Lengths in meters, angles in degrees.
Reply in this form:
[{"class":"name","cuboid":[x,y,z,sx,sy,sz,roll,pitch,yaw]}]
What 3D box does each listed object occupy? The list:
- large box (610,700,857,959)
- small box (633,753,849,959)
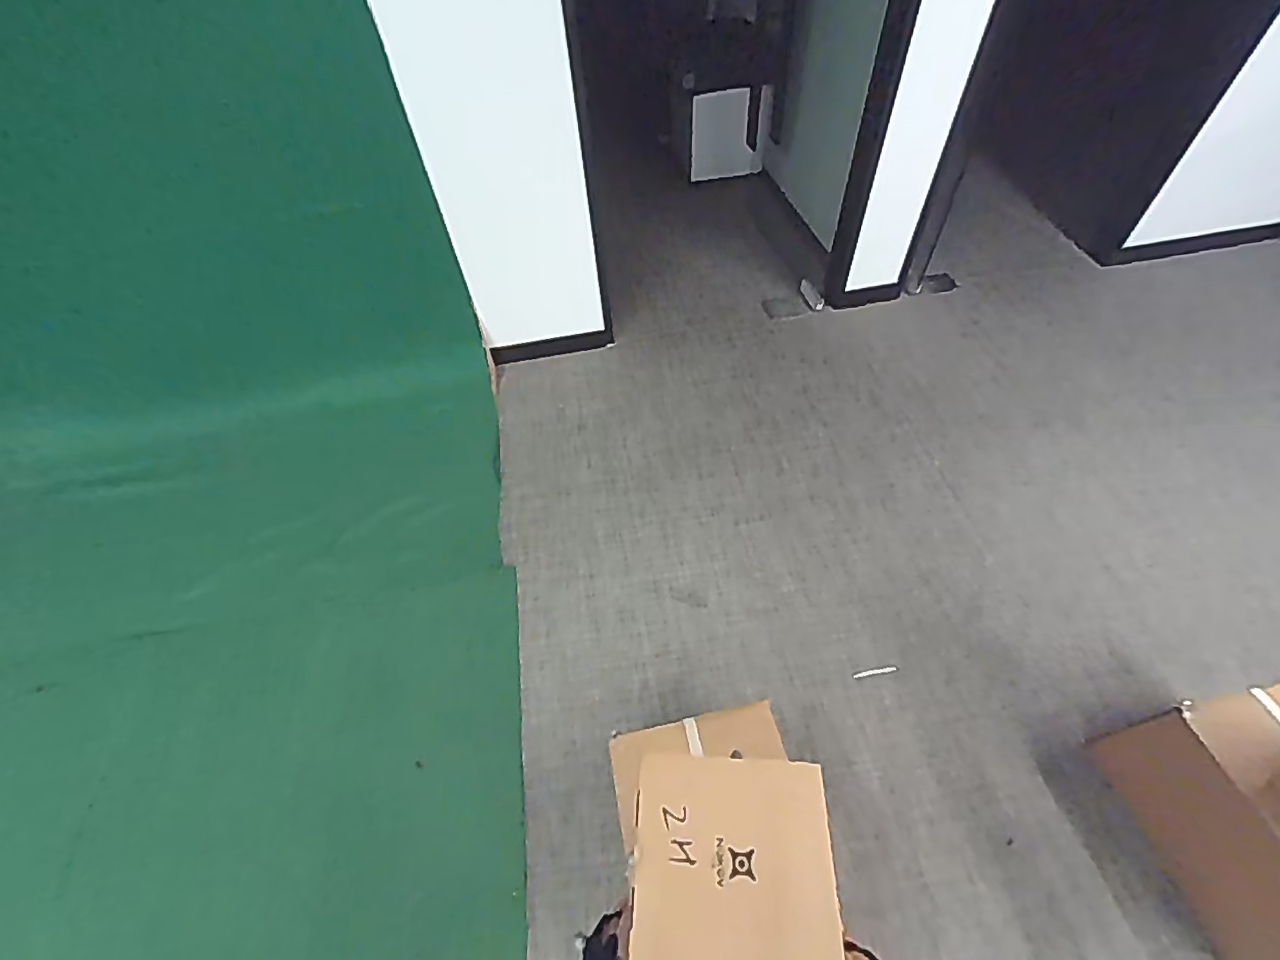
[{"class":"large box","cuboid":[0.146,0.693,1.017,0.320,0.320,0.408,-11,51,-4]},{"class":"small box","cuboid":[0.092,0.384,0.539,0.179,0.176,0.168,0,52,6]}]
